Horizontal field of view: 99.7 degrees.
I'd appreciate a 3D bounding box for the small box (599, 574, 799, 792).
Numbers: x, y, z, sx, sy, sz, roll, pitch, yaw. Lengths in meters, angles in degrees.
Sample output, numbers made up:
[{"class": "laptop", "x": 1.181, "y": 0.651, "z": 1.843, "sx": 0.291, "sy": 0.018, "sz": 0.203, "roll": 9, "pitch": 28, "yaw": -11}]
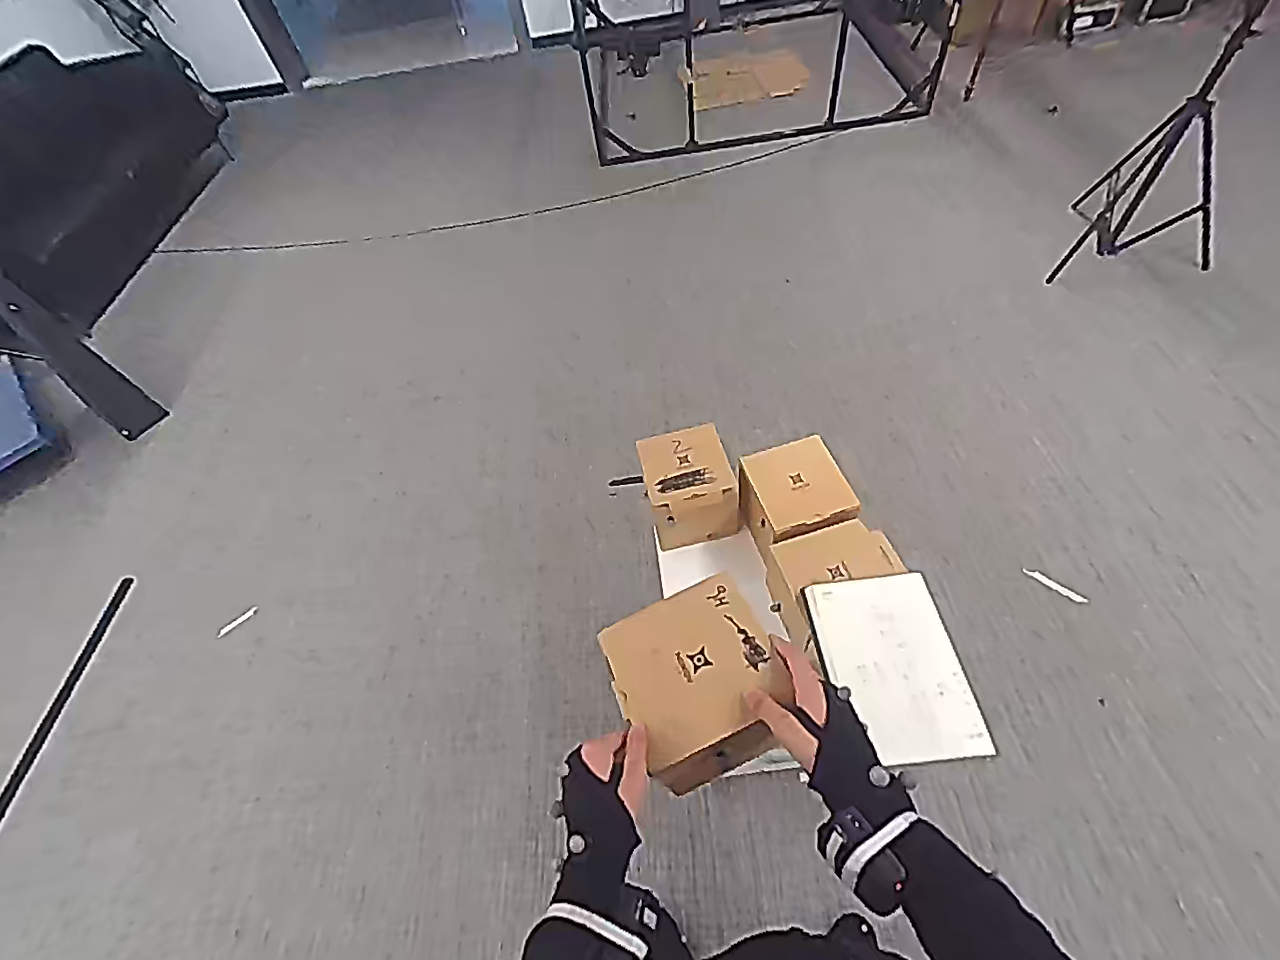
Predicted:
[{"class": "small box", "x": 0.077, "y": 0.250, "z": 0.652, "sx": 0.179, "sy": 0.176, "sz": 0.168, "roll": -26, "pitch": 52, "yaw": -3}]
